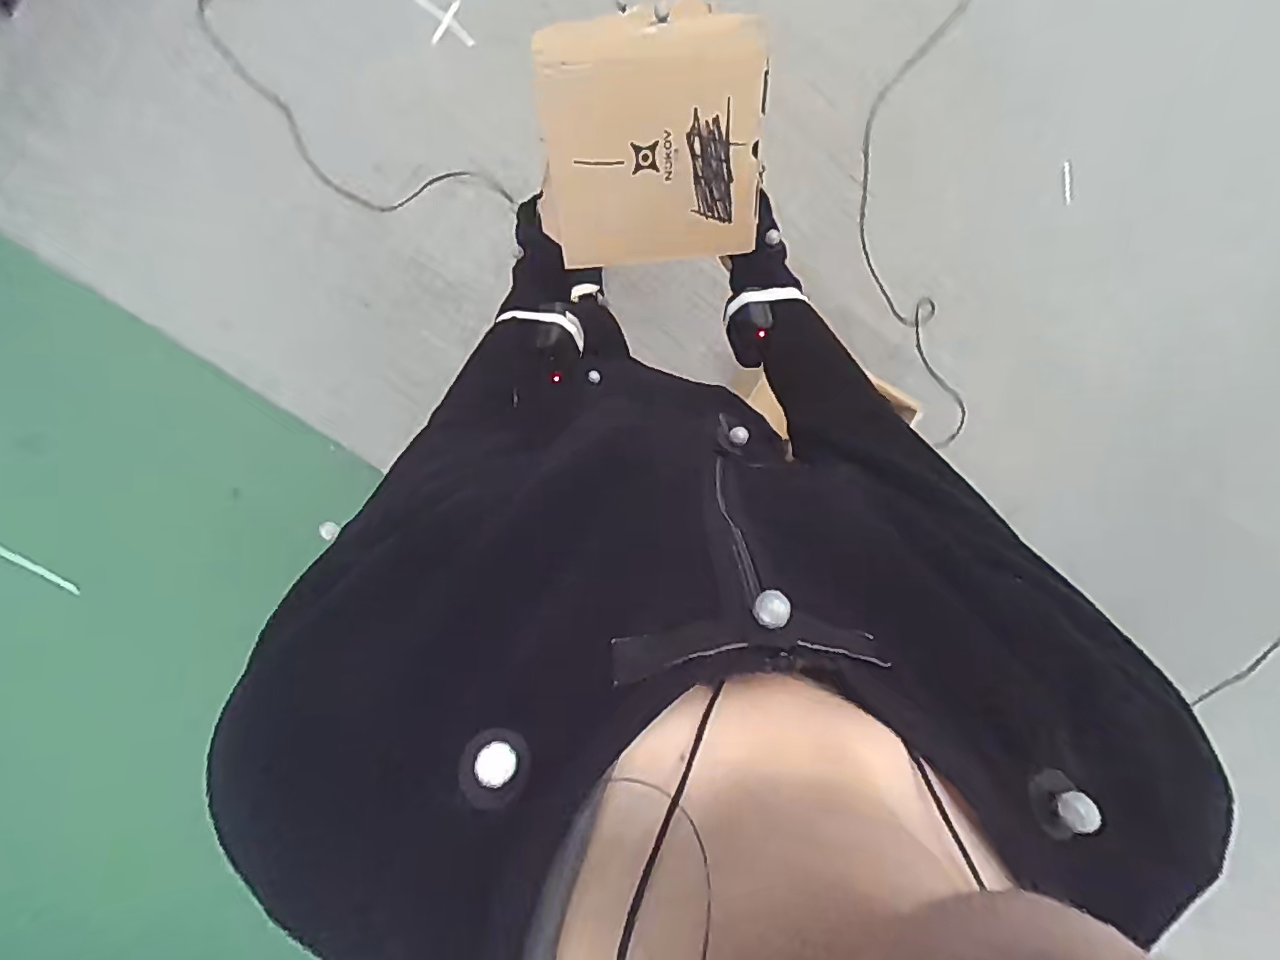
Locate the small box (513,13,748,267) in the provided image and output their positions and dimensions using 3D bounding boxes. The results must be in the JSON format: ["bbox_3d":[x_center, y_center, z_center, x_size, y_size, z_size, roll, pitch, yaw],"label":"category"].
[{"bbox_3d":[-0.008,-0.317,0.501,0.179,0.176,0.168,-6,132,0],"label":"small box"}]

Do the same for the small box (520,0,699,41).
[{"bbox_3d":[-0.025,-0.430,0.619,0.179,0.176,0.168,-10,131,4],"label":"small box"}]
